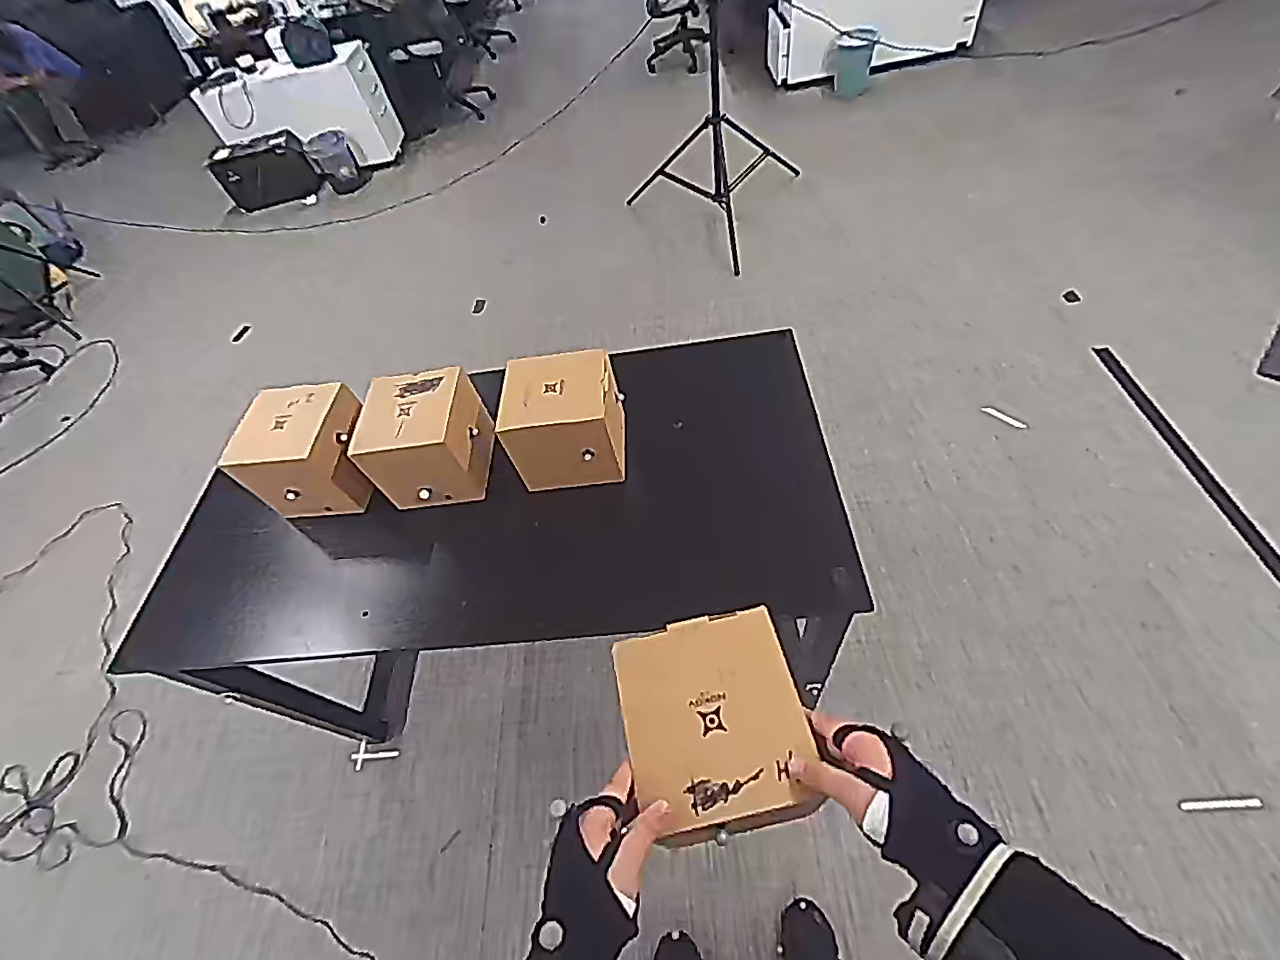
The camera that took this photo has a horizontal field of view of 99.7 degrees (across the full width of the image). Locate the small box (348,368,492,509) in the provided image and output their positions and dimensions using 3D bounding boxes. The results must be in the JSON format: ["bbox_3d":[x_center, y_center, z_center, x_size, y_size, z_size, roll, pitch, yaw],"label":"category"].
[{"bbox_3d":[-0.376,-0.071,0.962,0.168,0.176,0.179,-7,55,5],"label":"small box"}]

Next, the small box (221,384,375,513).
[{"bbox_3d":[-0.597,-0.050,0.990,0.168,0.176,0.179,-4,54,7],"label":"small box"}]

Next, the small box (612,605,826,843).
[{"bbox_3d":[0.075,0.260,0.570,0.168,0.176,0.179,-14,53,1],"label":"small box"}]

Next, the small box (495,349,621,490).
[{"bbox_3d":[-0.130,-0.100,0.938,0.179,0.176,0.168,-7,52,7],"label":"small box"}]
